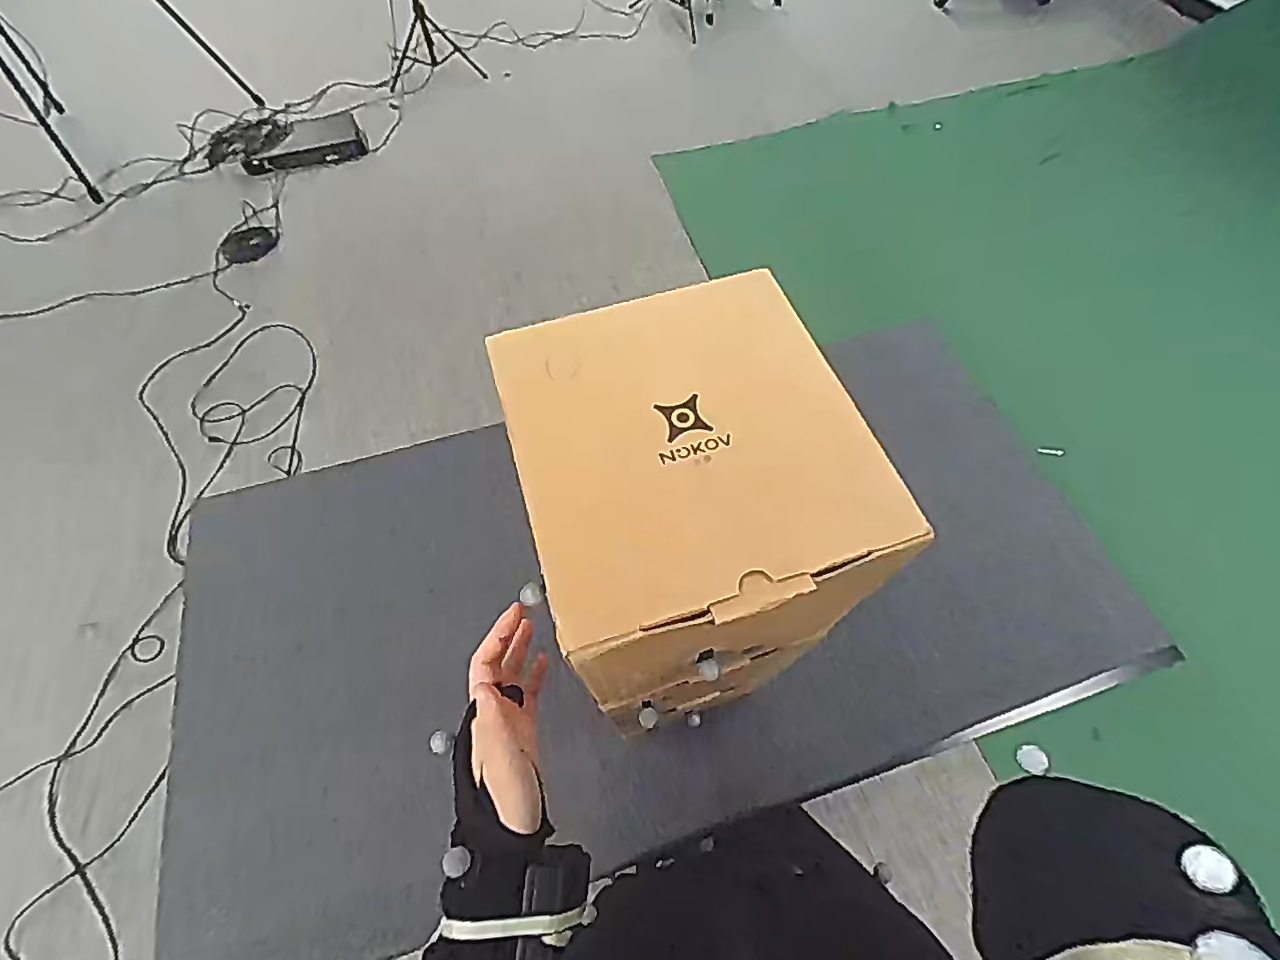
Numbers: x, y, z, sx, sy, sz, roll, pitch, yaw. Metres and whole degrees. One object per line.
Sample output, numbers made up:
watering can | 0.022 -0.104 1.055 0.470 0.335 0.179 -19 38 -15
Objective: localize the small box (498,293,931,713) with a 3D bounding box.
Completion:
small box | 0.025 0.022 0.332 0.168 0.176 0.179 -16 62 -8

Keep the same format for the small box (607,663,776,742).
small box | 0.030 0.181 0.618 0.168 0.176 0.179 -17 63 -8
